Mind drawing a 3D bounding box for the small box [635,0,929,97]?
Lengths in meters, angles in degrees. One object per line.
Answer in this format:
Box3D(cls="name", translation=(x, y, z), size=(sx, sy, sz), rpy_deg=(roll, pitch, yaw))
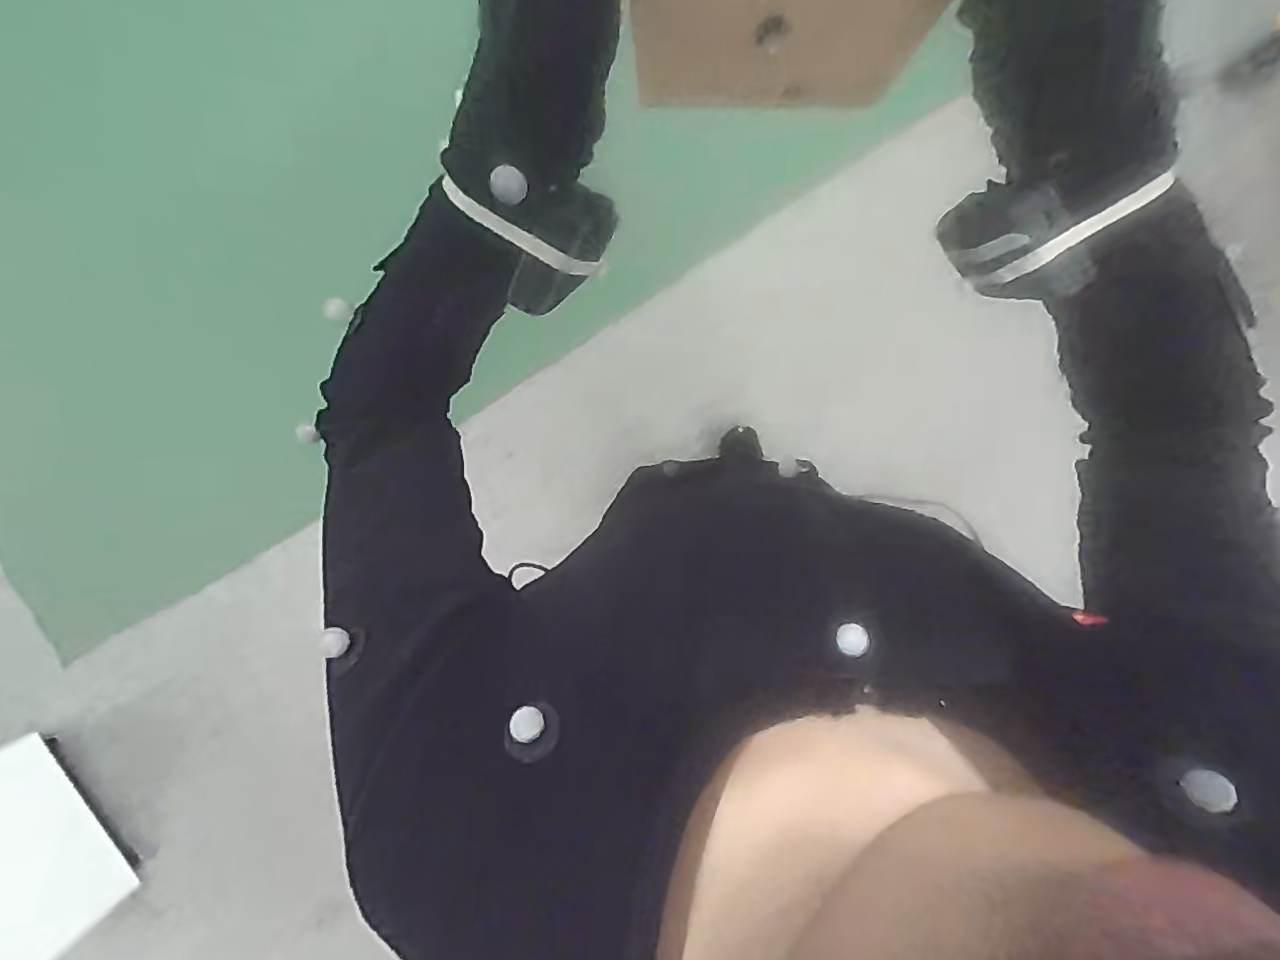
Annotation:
Box3D(cls="small box", translation=(0.081, -0.339, 0.287), size=(0.168, 0.176, 0.179), rpy_deg=(1, 96, 1))
